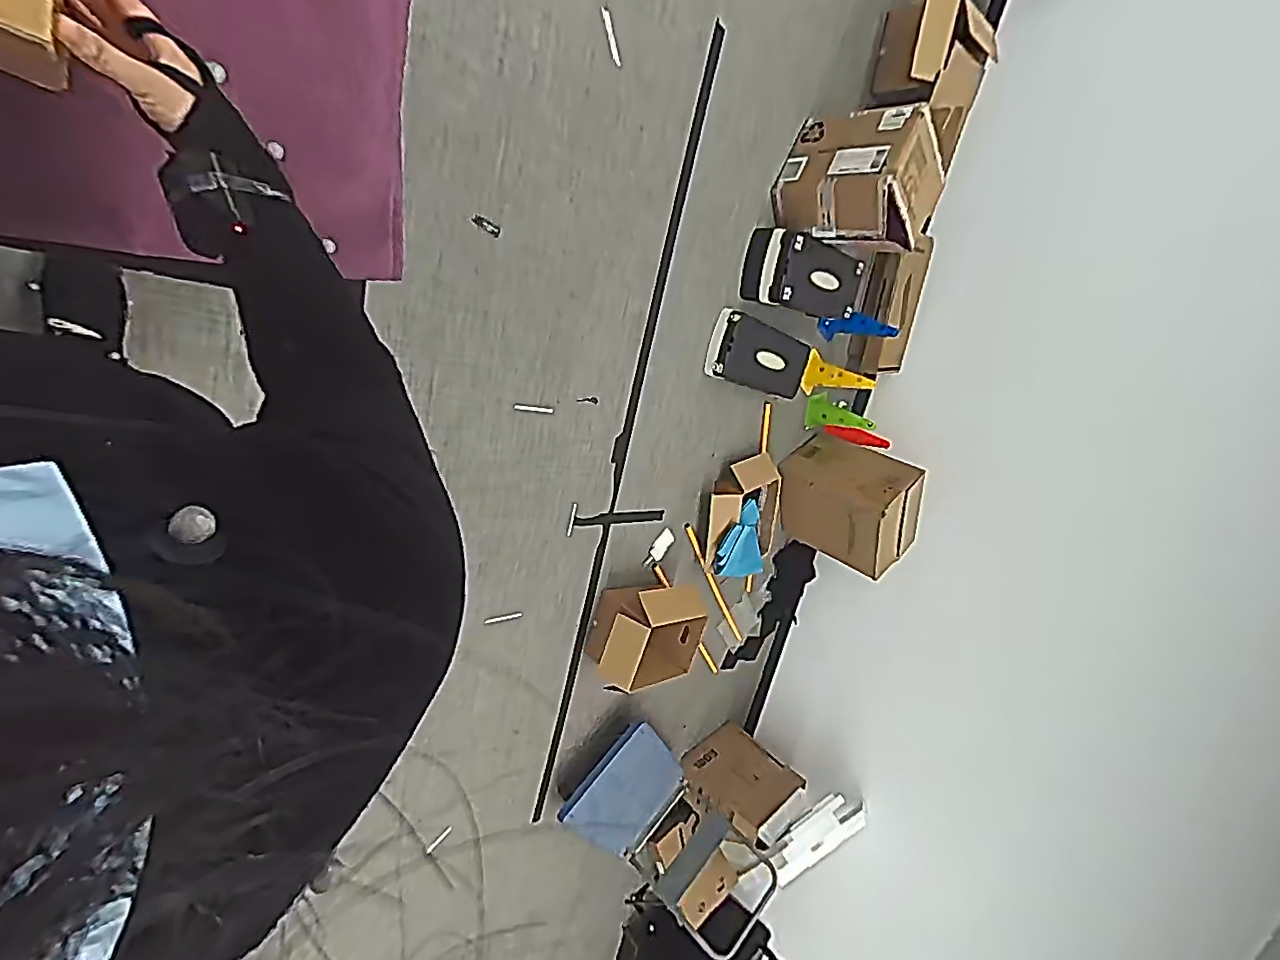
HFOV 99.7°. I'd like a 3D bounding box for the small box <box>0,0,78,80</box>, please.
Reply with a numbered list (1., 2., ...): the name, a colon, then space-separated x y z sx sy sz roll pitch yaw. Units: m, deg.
1. small box: -0.465 -0.394 0.332 0.168 0.176 0.179 3 106 -46
